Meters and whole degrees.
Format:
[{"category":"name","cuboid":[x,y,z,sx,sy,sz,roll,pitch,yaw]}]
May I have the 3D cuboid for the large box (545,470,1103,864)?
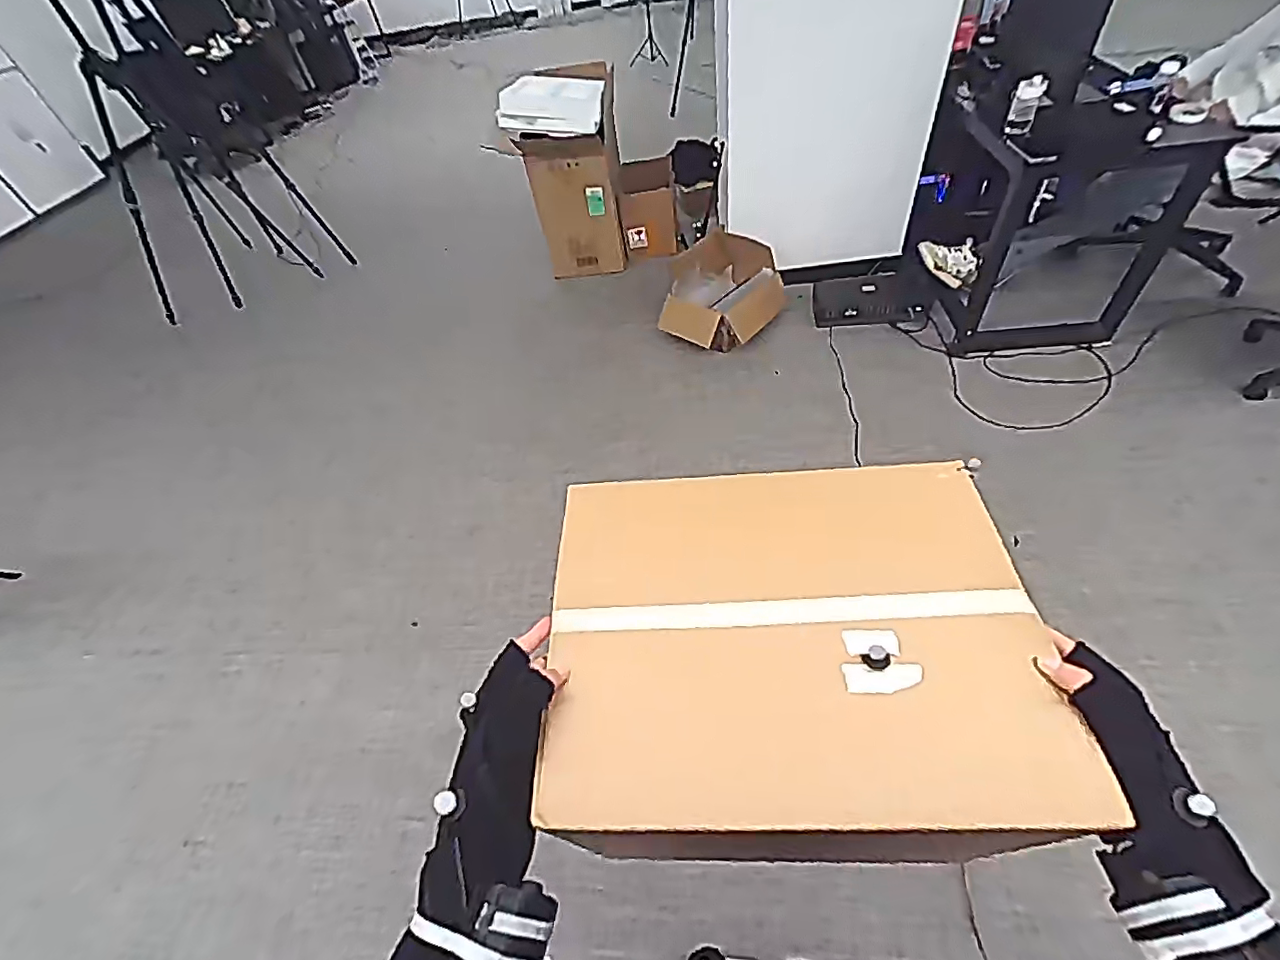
[{"category":"large box","cuboid":[0.138,0.215,0.594,0.408,0.320,0.320,-4,51,5]}]
